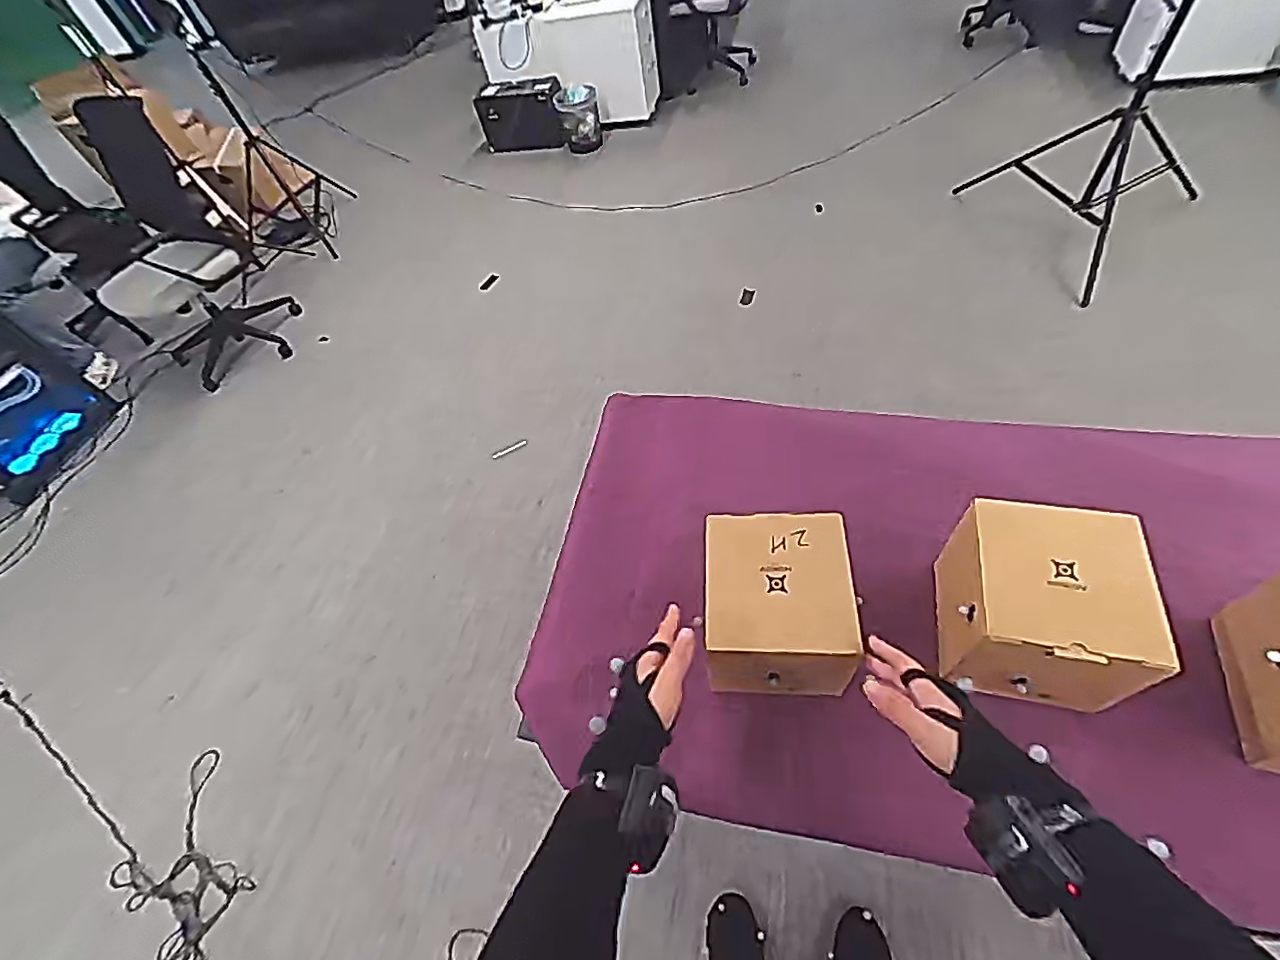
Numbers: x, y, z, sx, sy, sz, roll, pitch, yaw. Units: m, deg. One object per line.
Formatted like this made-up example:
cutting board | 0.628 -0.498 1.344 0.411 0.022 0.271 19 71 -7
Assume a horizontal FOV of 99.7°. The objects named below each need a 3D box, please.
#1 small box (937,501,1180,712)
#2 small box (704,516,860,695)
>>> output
small box | 0.465 0.150 0.639 0.168 0.176 0.179 7 56 16
small box | 0.170 0.162 0.685 0.168 0.176 0.179 -1 54 10
